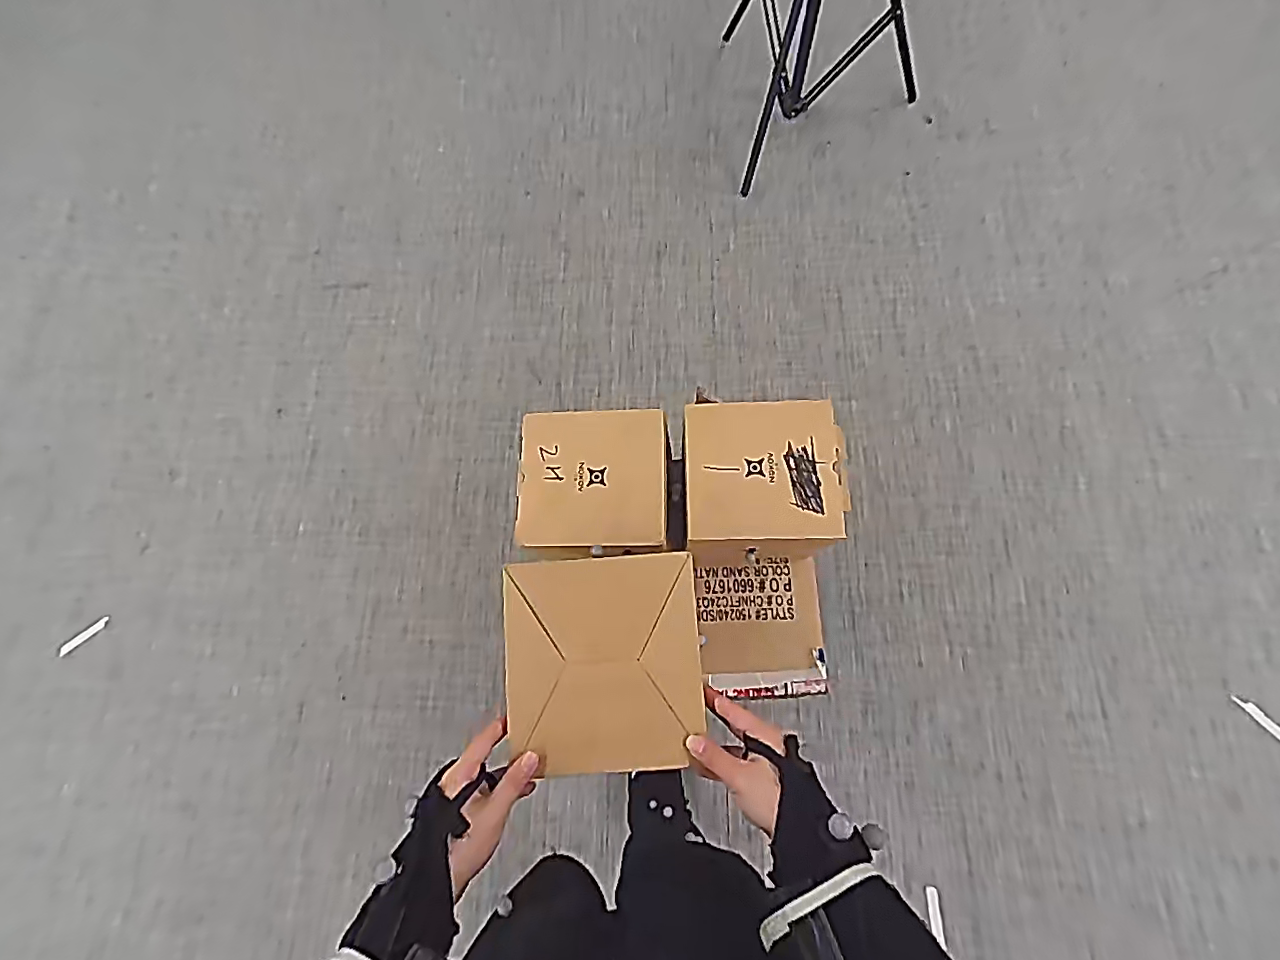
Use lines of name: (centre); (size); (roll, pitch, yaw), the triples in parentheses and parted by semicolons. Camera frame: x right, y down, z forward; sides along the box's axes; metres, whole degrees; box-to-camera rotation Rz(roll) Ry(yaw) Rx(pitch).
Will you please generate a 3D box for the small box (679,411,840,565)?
small box: (0.141, 0.018, 0.701); (0.179, 0.176, 0.168); (-1, 74, 4)
